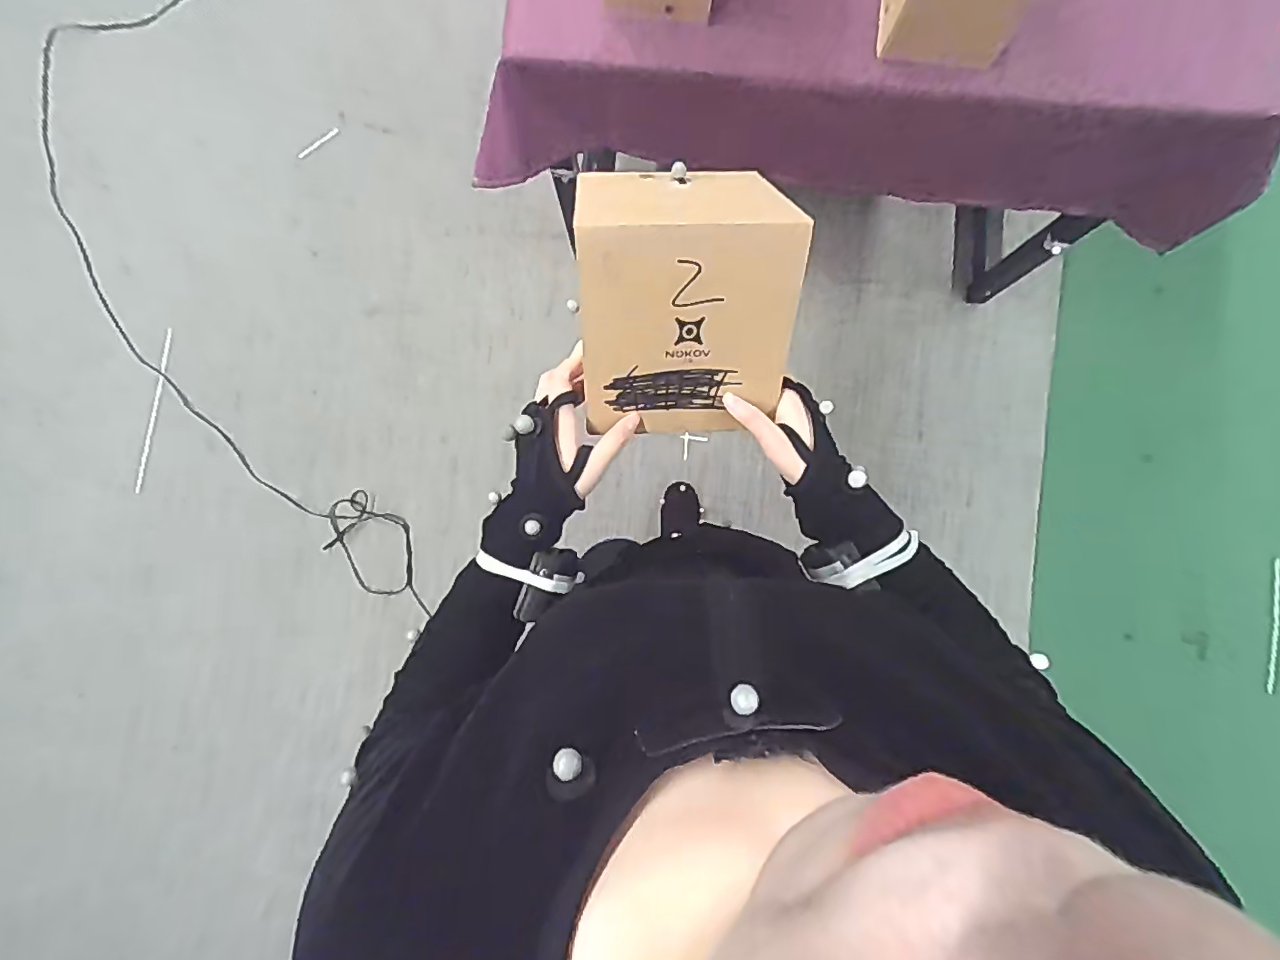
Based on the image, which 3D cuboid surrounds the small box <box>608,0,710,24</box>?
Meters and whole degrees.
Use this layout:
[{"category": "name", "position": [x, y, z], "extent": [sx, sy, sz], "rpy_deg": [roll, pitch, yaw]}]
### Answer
[{"category": "small box", "position": [0.034, -0.803, 0.766], "extent": [0.168, 0.176, 0.179], "rpy_deg": [8, 85, 1]}]

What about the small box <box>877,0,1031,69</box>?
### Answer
[{"category": "small box", "position": [0.454, -0.723, 0.757], "extent": [0.179, 0.176, 0.168], "rpy_deg": [7, 85, 1]}]
